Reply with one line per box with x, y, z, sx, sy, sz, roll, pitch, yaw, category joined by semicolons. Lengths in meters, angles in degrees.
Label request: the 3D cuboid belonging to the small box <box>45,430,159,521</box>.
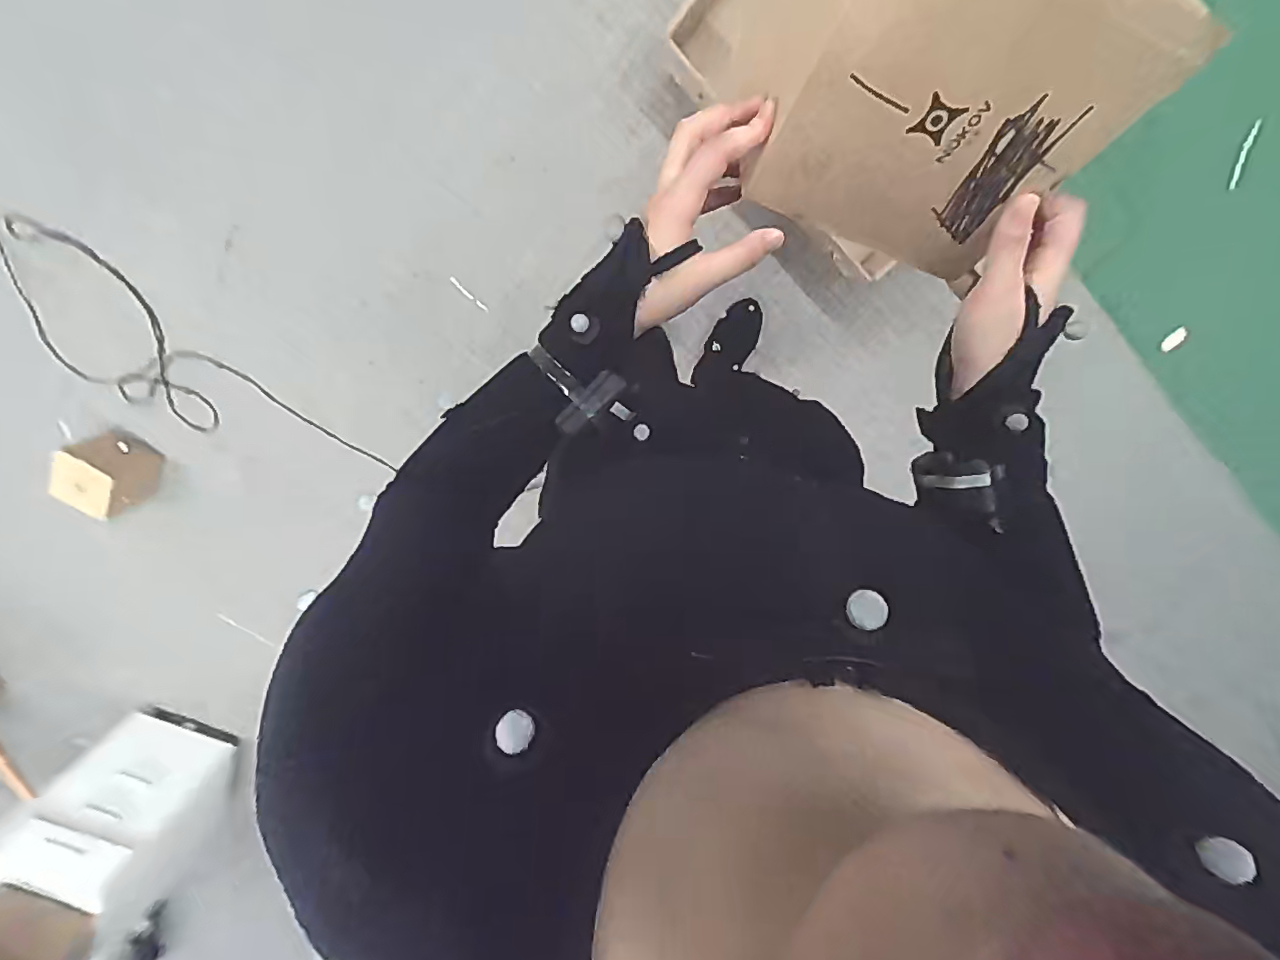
-1.584;-0.017;1.600;0.168;0.176;0.179;32;113;-9;small box

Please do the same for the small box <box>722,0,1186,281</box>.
0.166;-0.266;0.342;0.179;0.176;0.168;10;153;-16;small box
